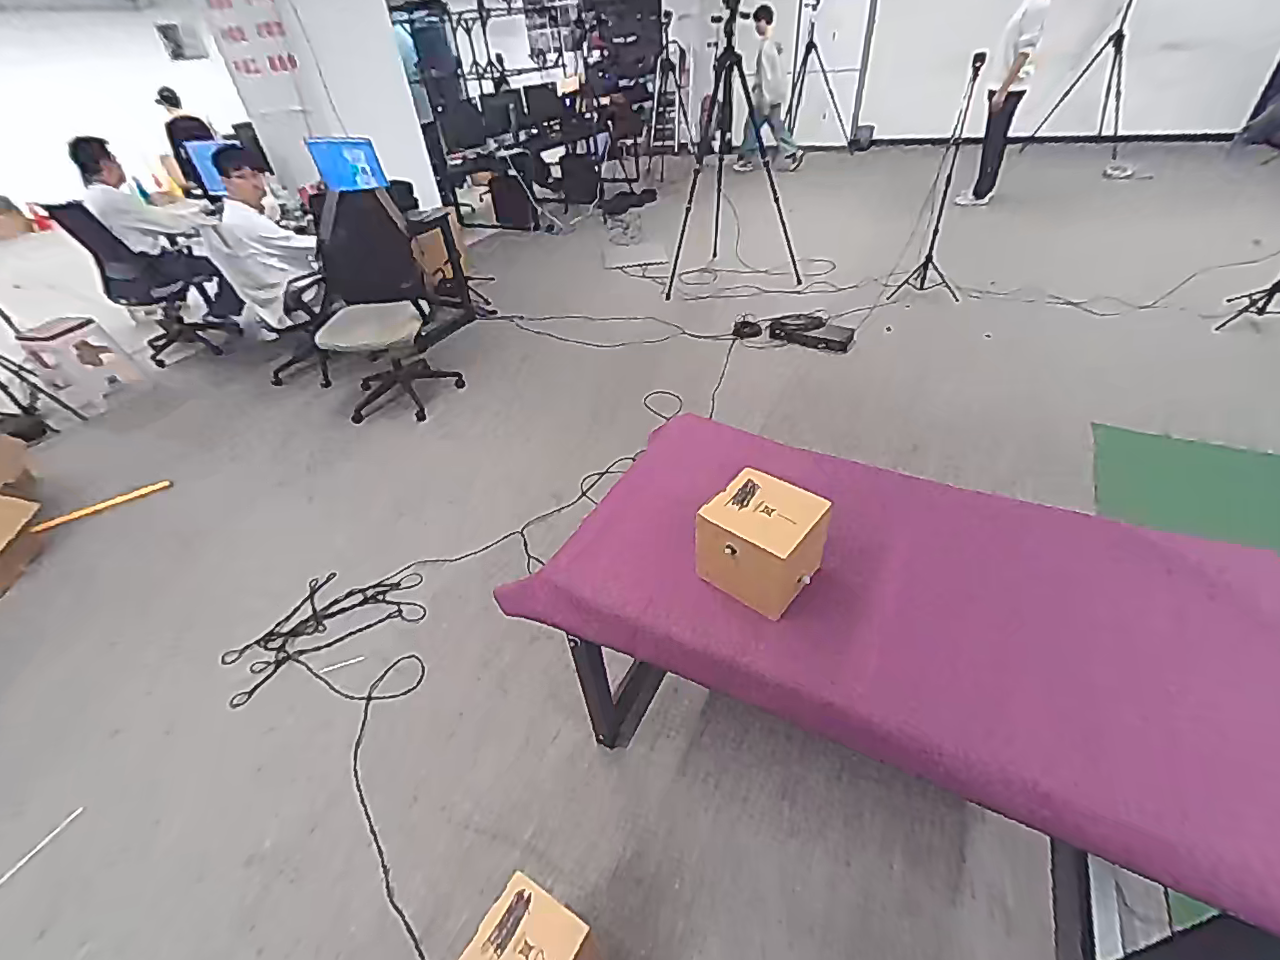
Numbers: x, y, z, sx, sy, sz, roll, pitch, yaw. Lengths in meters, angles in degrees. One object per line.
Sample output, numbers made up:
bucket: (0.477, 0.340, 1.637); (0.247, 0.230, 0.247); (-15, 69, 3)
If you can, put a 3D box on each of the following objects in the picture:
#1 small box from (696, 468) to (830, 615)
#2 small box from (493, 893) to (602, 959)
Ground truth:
small box: (0.218, 0.112, 0.987); (0.179, 0.176, 0.168); (27, 49, 32)
small box: (-0.192, 1.002, 1.097); (0.168, 0.176, 0.179); (19, 46, 26)
